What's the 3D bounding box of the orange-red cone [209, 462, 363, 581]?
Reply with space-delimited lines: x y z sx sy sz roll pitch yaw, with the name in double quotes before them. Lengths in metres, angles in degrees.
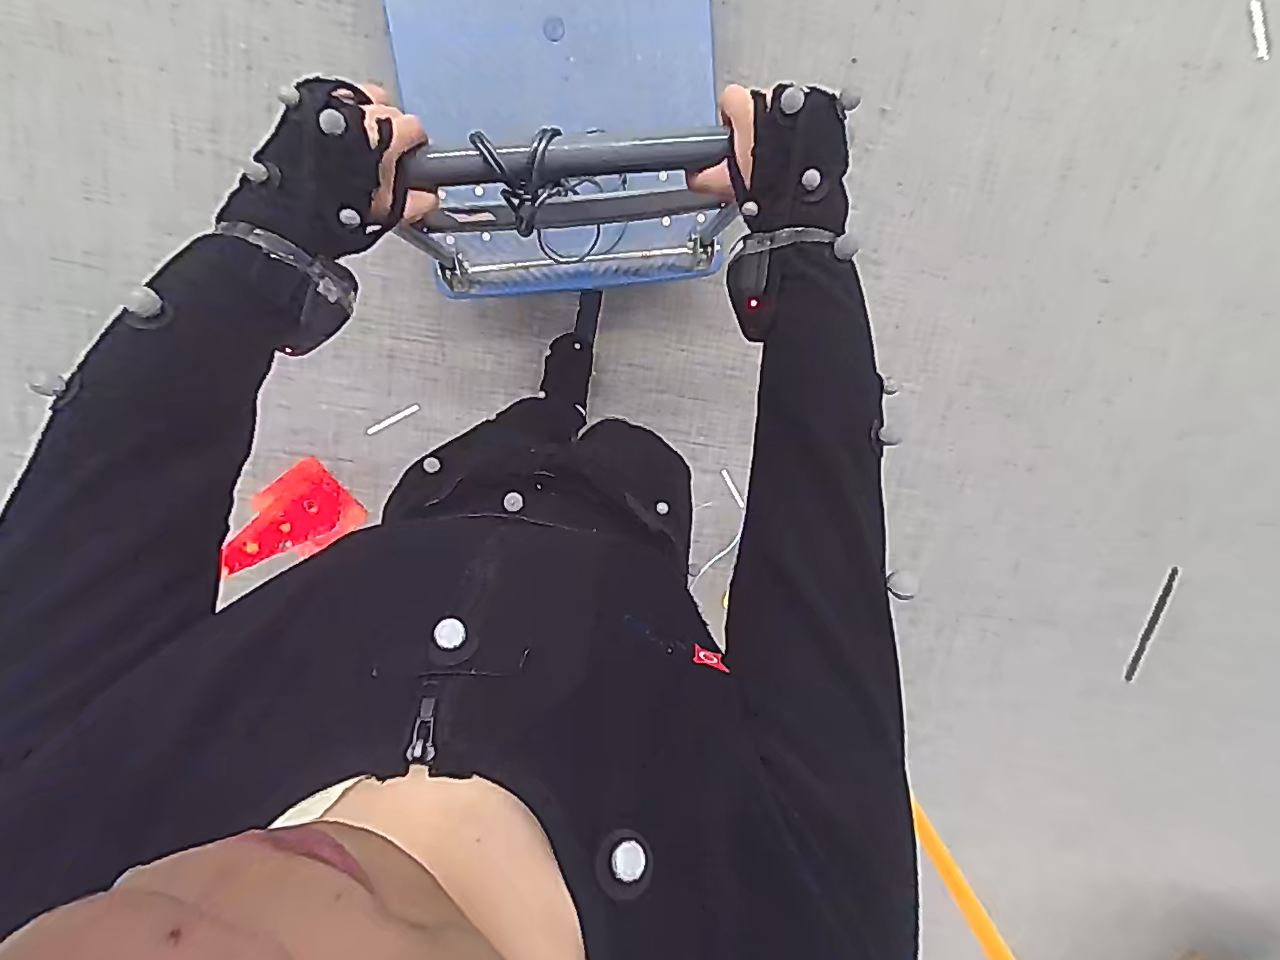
"orange-red cone" -0.785 0.120 1.148 0.199 0.360 0.198 -35 107 3
